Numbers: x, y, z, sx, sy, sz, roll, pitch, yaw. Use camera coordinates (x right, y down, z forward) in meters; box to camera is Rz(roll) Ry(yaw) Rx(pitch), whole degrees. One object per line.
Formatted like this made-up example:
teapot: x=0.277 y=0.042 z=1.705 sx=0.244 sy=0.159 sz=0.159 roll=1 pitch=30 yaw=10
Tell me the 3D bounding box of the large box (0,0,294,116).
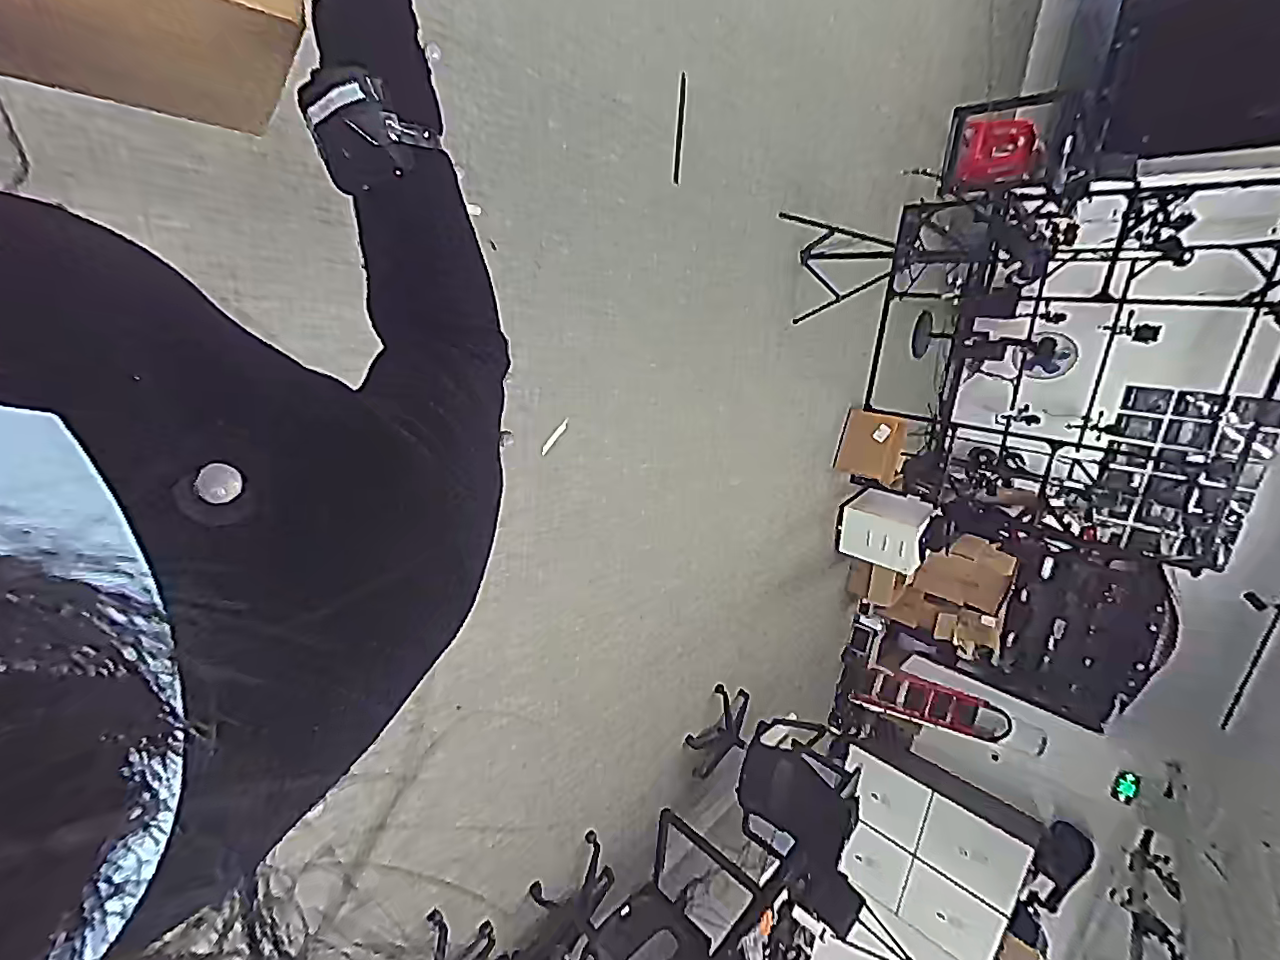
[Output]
large box: x=-0.468 y=-0.473 z=0.317 sx=0.408 sy=0.320 sz=0.320 roll=-8 pitch=108 yaw=-36
